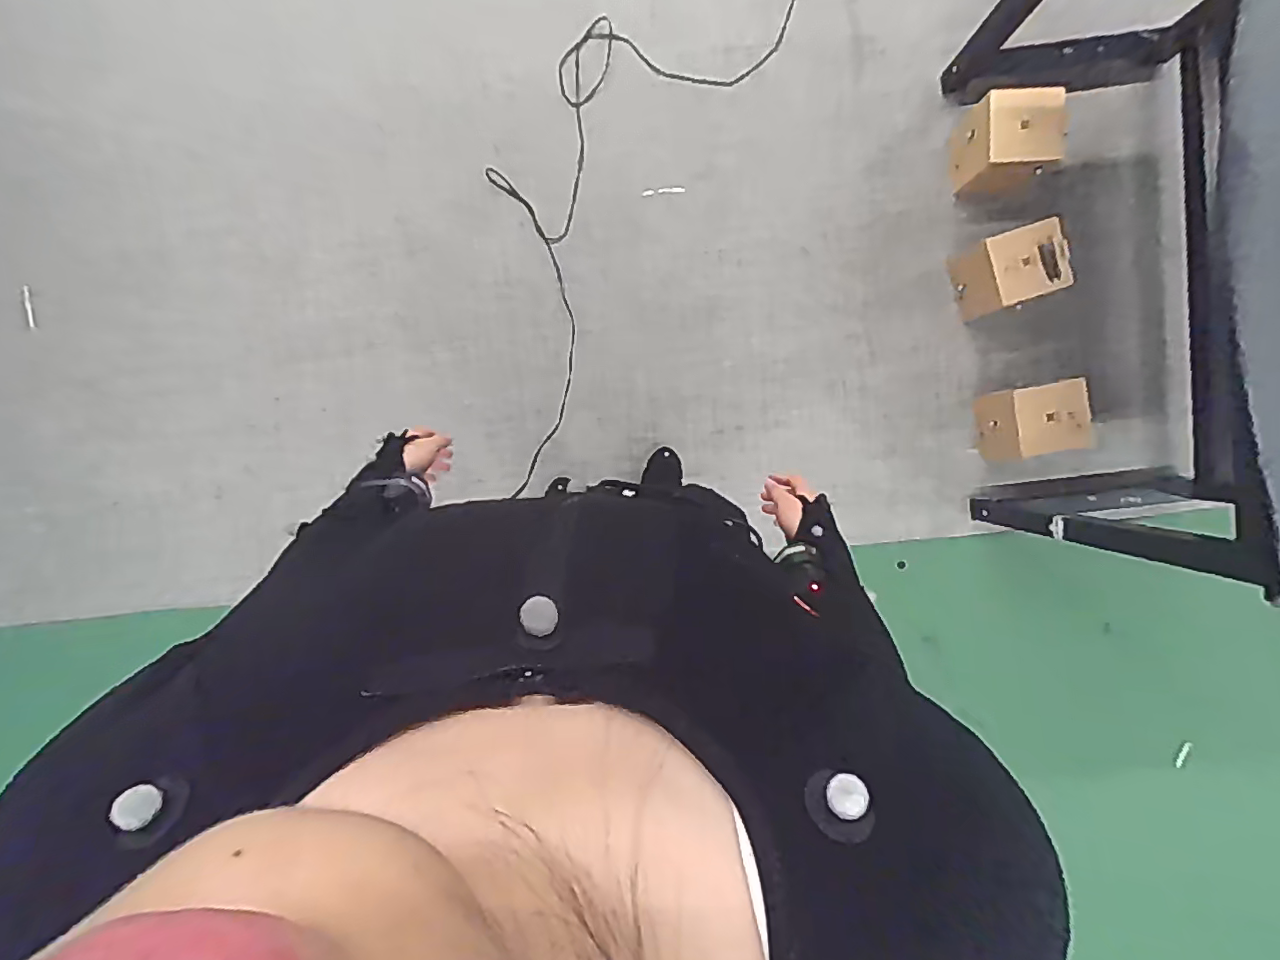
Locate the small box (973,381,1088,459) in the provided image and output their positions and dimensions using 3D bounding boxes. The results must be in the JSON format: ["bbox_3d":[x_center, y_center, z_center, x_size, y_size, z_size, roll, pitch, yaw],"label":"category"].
[{"bbox_3d":[0.983,-0.148,1.380,0.179,0.176,0.168,-11,94,1],"label":"small box"}]

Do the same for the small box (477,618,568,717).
[{"bbox_3d":[-0.300,0.487,1.431,0.179,0.176,0.168,-22,93,3],"label":"small box"}]

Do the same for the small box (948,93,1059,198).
[{"bbox_3d":[0.892,-0.820,1.341,0.179,0.176,0.168,-2,93,0],"label":"small box"}]
